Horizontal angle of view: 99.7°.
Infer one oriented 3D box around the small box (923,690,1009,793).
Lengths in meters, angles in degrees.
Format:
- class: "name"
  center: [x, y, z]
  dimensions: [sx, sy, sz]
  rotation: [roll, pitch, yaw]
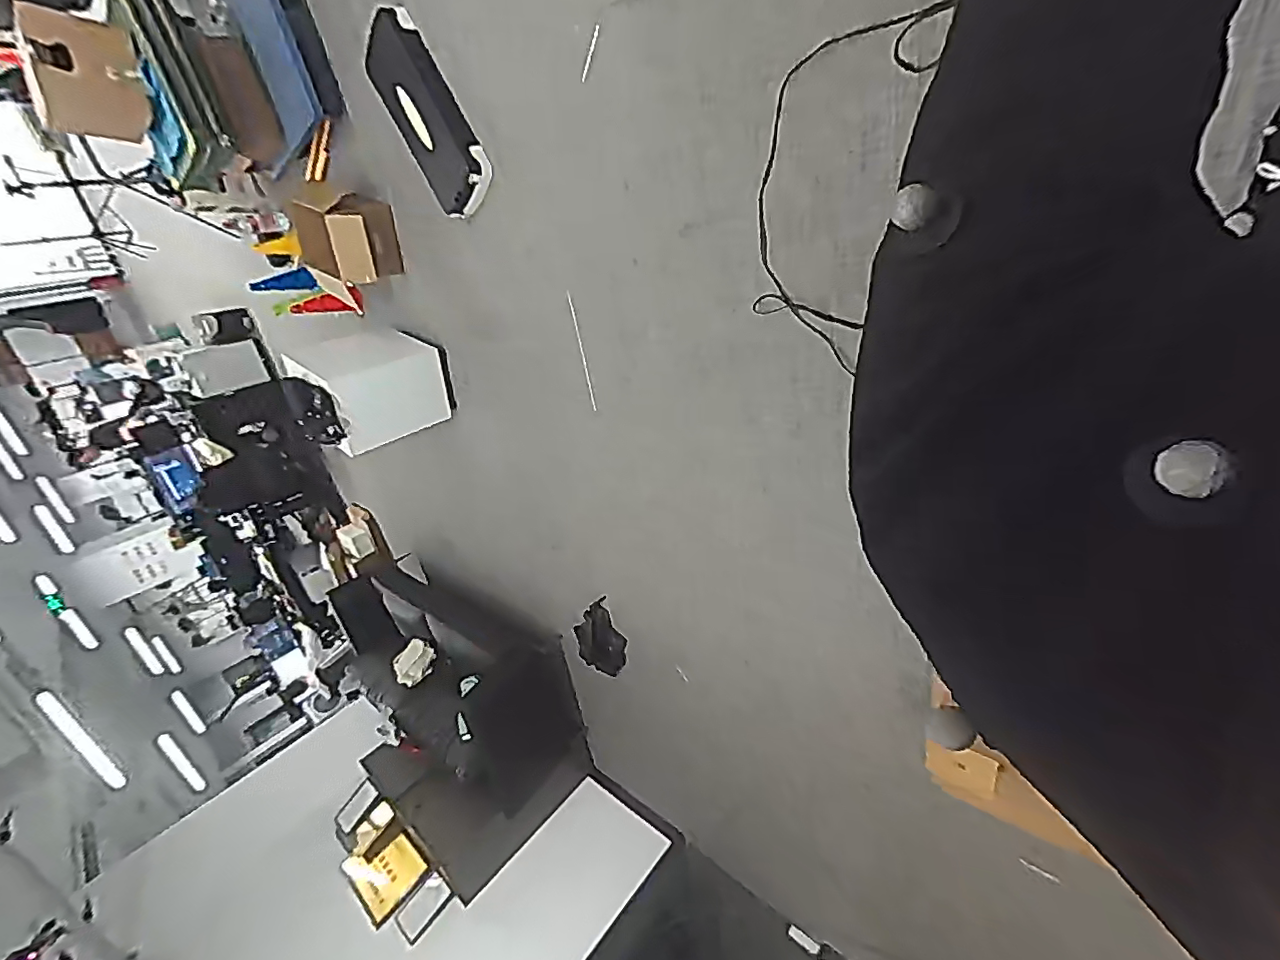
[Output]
- class: "small box"
  center: [0.934, 0.737, 1.547]
  dimensions: [0.179, 0.176, 0.168]
  rotation: [13, 124, 42]
